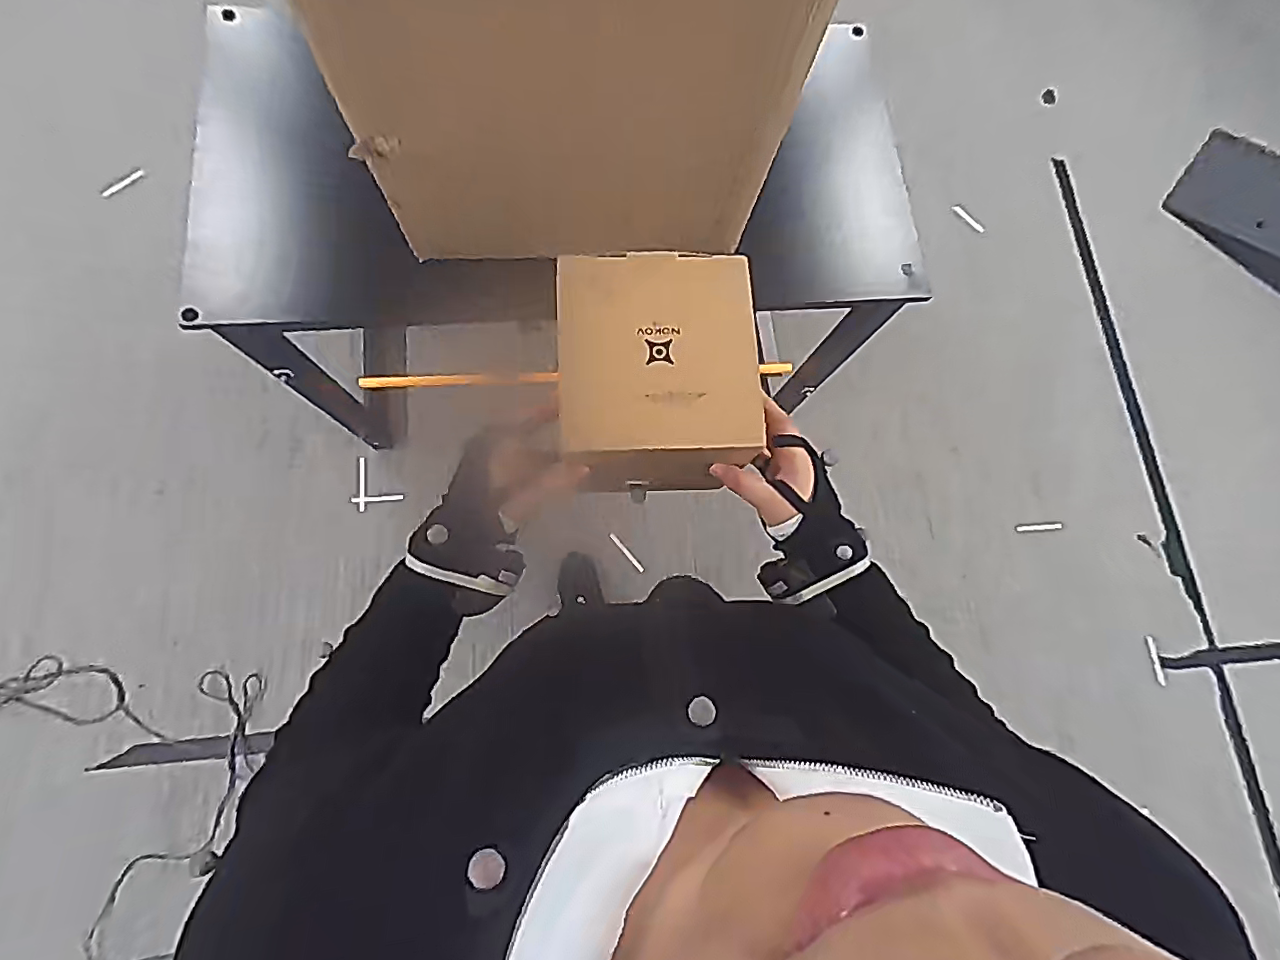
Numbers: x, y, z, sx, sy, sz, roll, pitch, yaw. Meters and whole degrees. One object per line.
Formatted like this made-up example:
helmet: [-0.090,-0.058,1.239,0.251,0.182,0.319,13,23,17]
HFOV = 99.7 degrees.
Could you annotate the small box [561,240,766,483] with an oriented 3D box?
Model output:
small box: [0.010,-0.102,0.522,0.168,0.176,0.179,-1,77,-5]
